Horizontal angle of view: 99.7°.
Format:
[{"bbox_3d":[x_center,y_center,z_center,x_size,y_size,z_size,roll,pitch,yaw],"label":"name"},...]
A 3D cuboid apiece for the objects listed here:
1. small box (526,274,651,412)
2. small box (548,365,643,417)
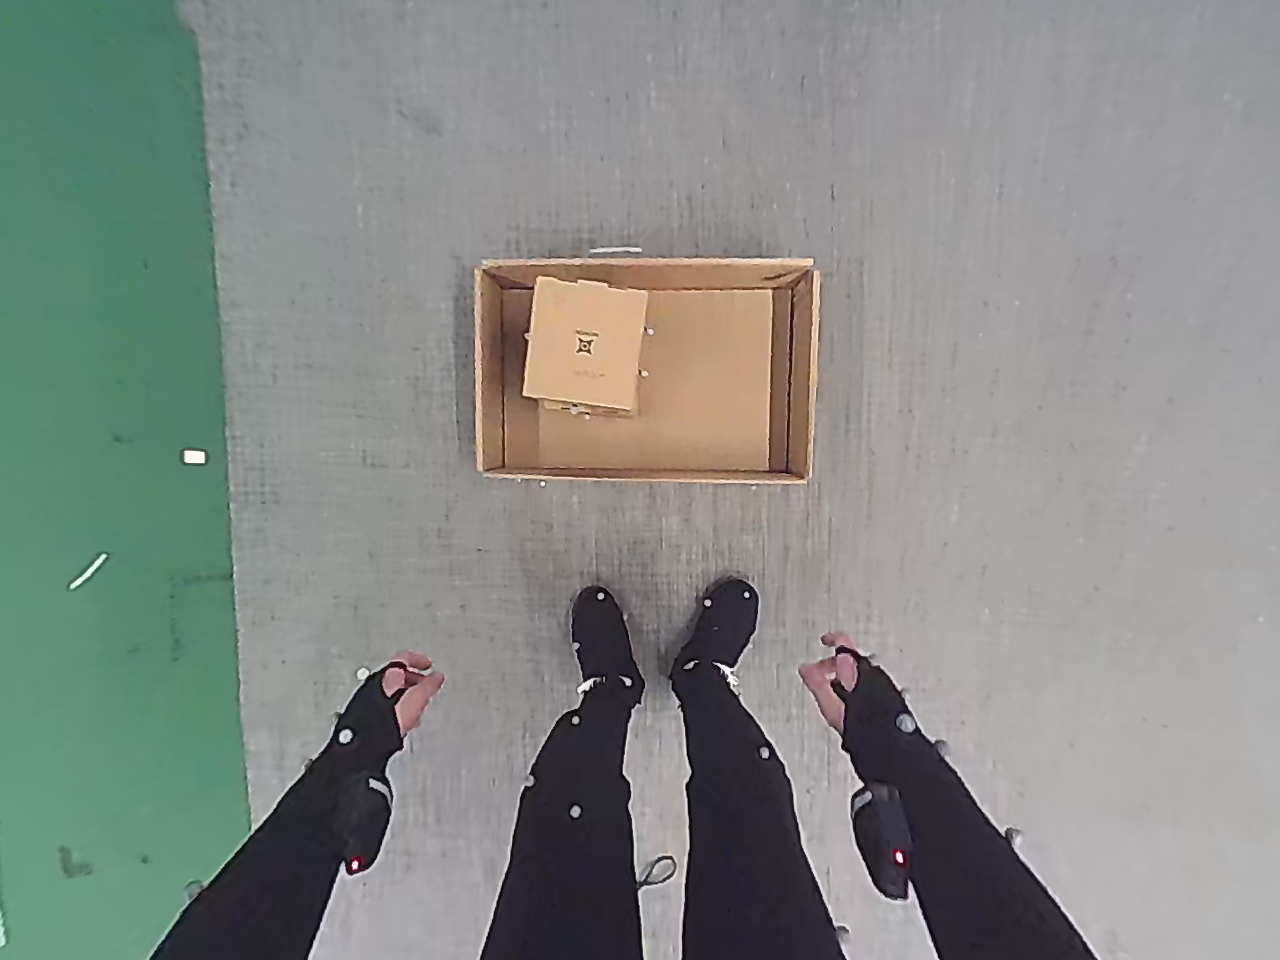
[{"bbox_3d":[-0.077,-0.209,0.869,0.168,0.176,0.179,8,95,-1],"label":"small box"},{"bbox_3d":[-0.078,-0.216,1.032,0.168,0.176,0.179,4,95,-1],"label":"small box"}]
